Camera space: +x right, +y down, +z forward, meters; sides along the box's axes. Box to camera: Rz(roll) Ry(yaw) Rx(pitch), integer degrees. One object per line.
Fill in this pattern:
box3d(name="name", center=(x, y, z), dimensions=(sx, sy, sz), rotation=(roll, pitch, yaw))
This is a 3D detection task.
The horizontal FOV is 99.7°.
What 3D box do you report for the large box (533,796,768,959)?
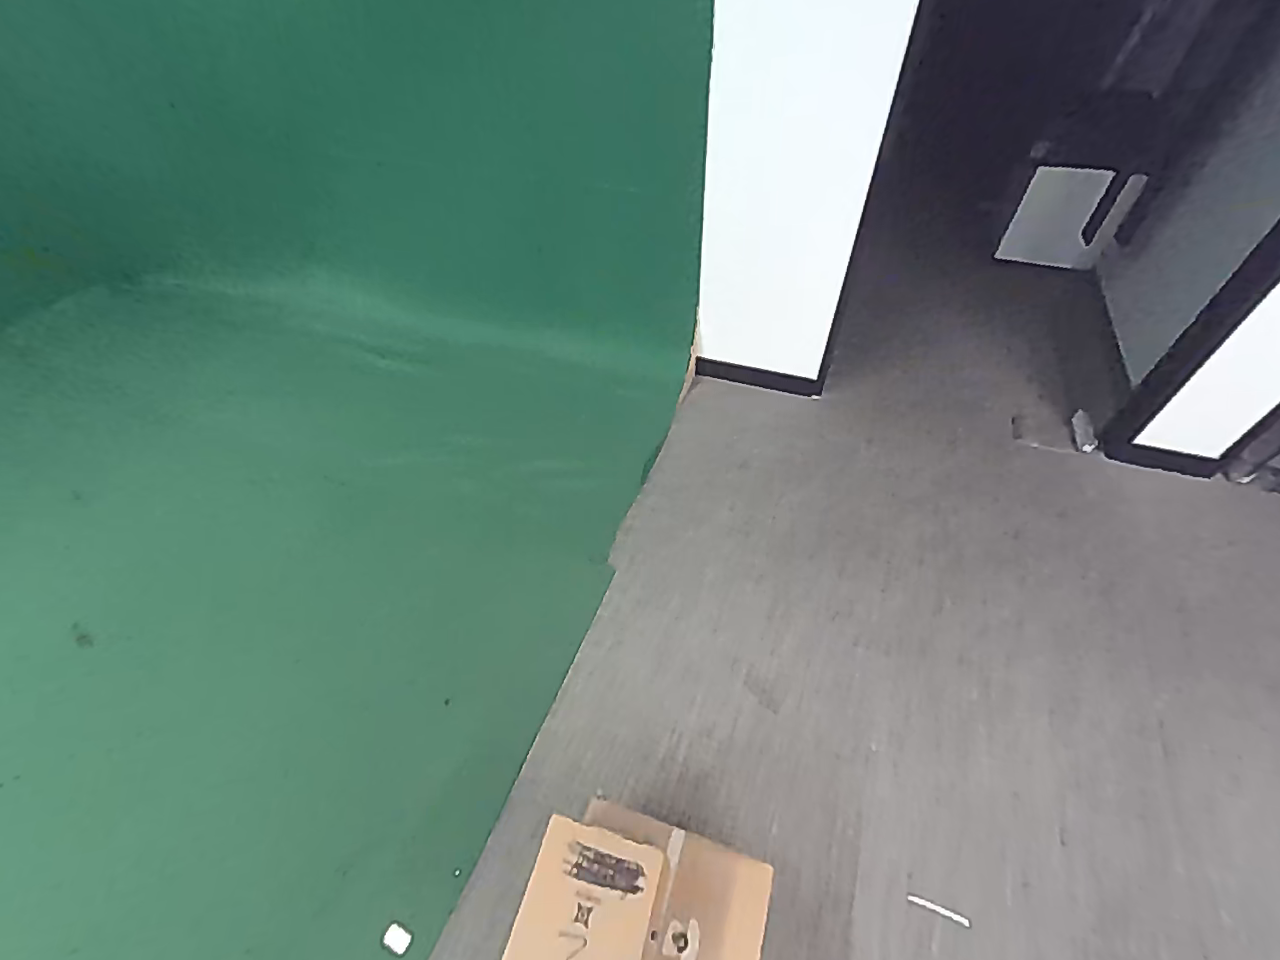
box3d(name="large box", center=(0.005, 0.816, 0.877), dimensions=(0.320, 0.320, 0.408), rotation=(13, 50, 15))
